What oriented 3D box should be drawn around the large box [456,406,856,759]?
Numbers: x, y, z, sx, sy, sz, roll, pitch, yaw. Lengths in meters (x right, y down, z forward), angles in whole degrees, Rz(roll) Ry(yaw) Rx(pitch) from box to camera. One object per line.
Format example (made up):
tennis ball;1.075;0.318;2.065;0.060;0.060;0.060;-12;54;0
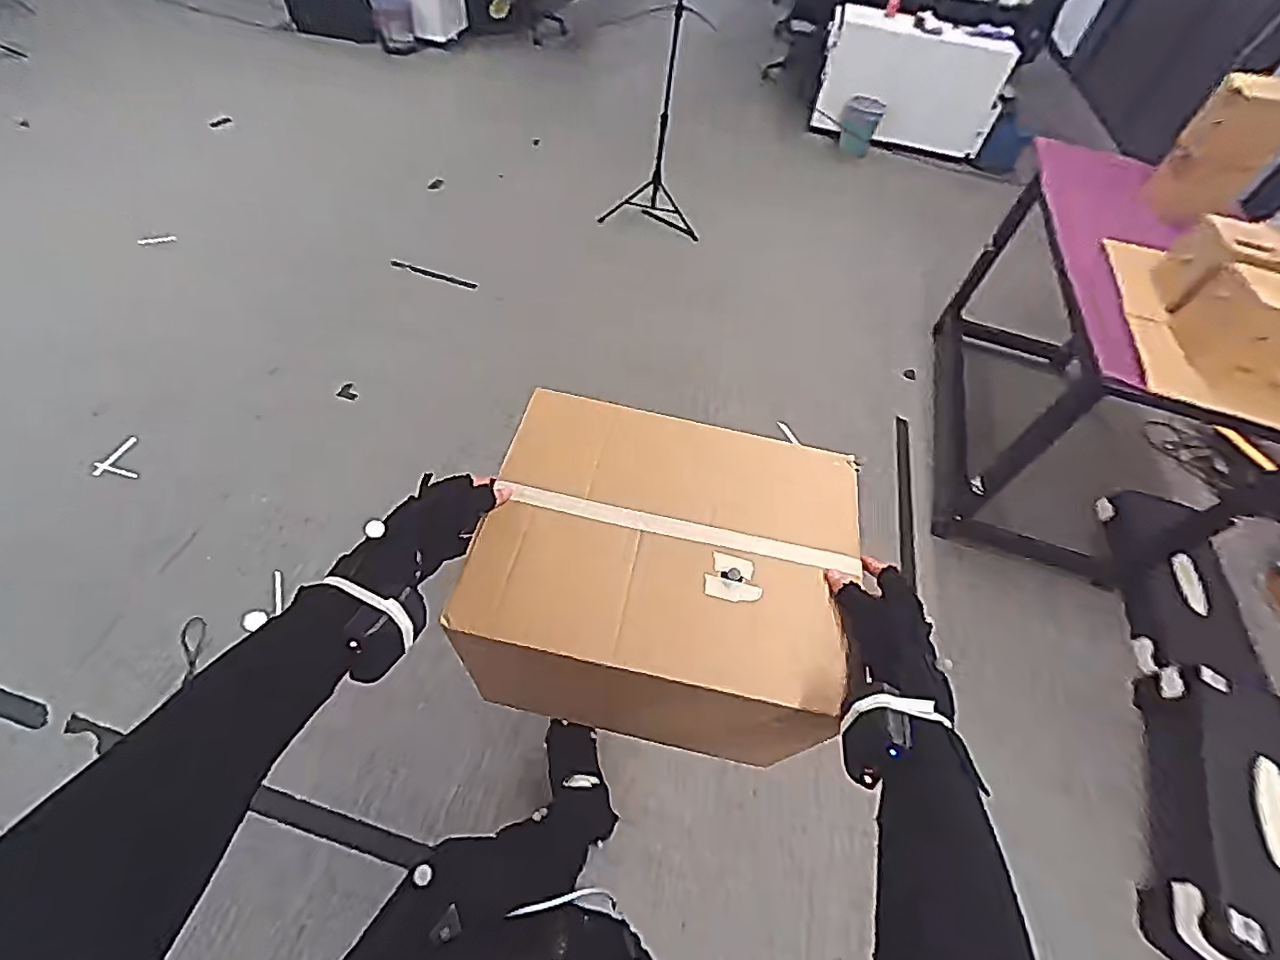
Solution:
large box;0.021;0.148;0.724;0.408;0.320;0.320;12;56;1
